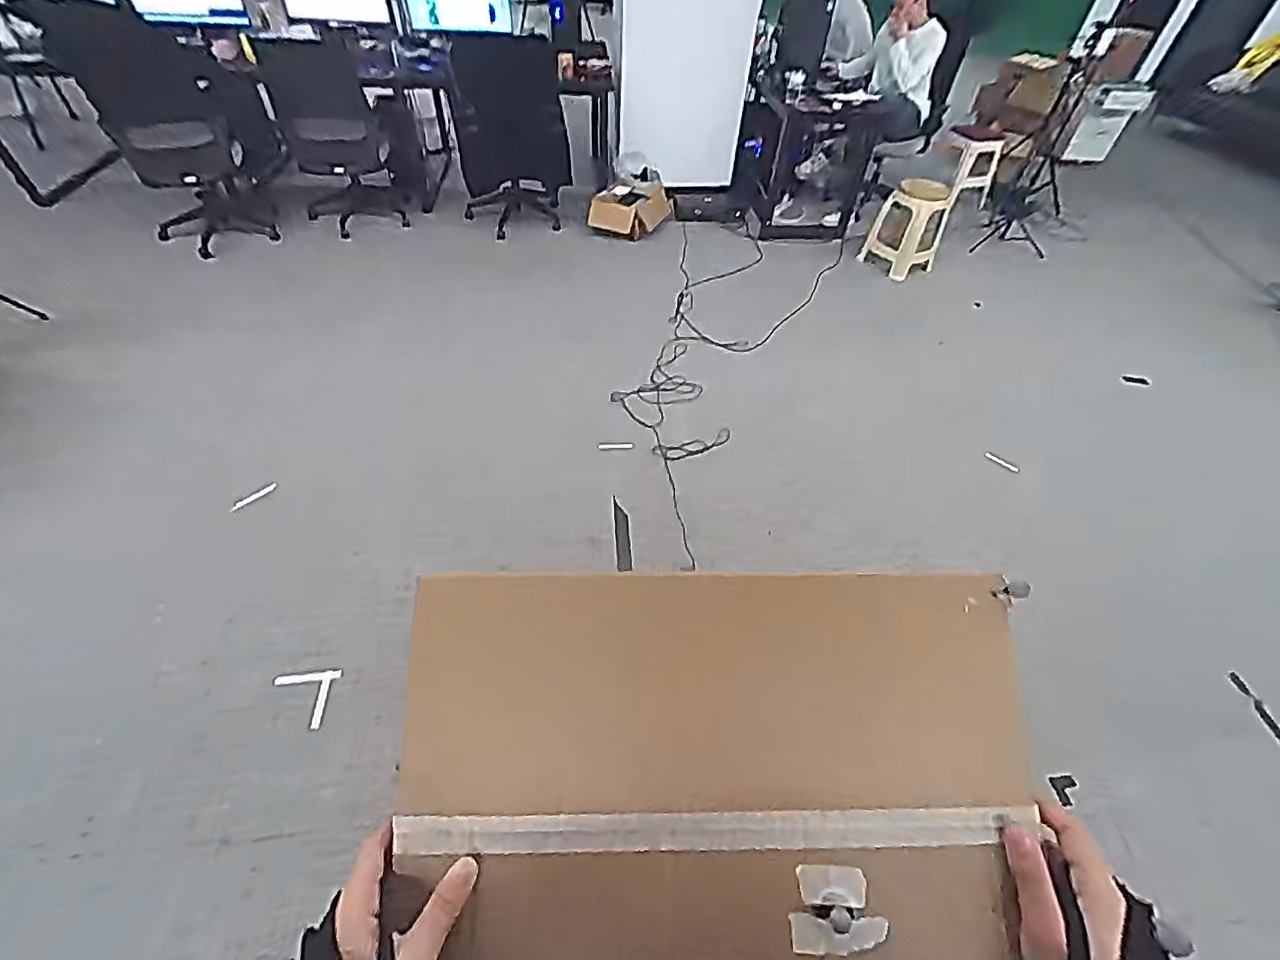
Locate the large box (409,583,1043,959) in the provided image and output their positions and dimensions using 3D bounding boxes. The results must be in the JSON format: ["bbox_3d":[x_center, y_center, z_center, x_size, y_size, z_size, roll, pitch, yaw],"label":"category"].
[{"bbox_3d":[0.048,0.260,0.495,0.408,0.320,0.320,0,79,-2],"label":"large box"}]
